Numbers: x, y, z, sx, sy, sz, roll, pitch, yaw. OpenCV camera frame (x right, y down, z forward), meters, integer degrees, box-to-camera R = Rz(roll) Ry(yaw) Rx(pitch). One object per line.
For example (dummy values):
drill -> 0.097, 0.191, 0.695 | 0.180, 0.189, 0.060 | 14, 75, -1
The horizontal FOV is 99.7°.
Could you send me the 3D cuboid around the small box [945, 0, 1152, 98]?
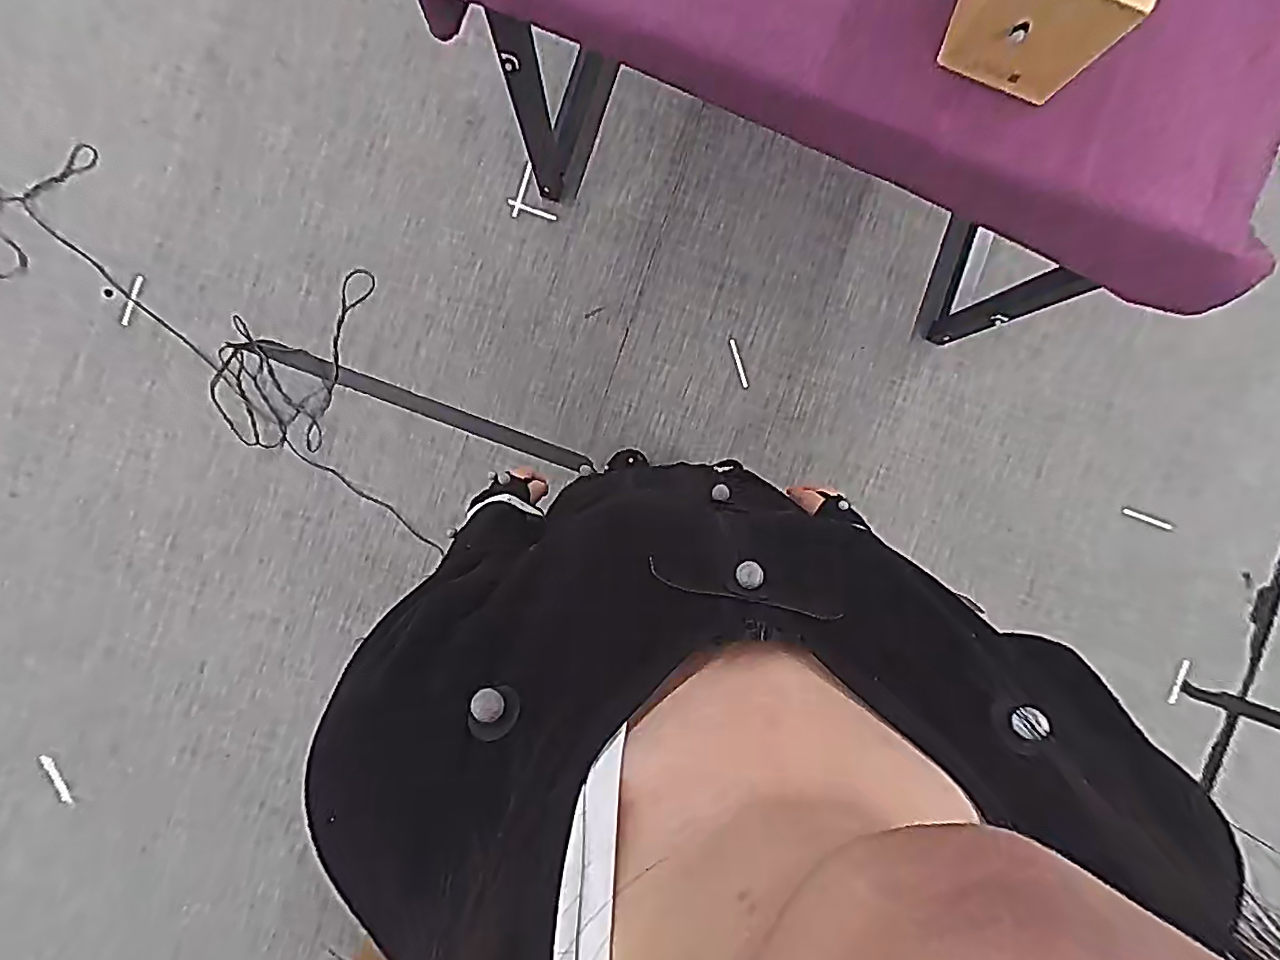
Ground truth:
small box -> 0.528, -0.642, 0.688 | 0.168, 0.176, 0.179 | 20, 91, -3
